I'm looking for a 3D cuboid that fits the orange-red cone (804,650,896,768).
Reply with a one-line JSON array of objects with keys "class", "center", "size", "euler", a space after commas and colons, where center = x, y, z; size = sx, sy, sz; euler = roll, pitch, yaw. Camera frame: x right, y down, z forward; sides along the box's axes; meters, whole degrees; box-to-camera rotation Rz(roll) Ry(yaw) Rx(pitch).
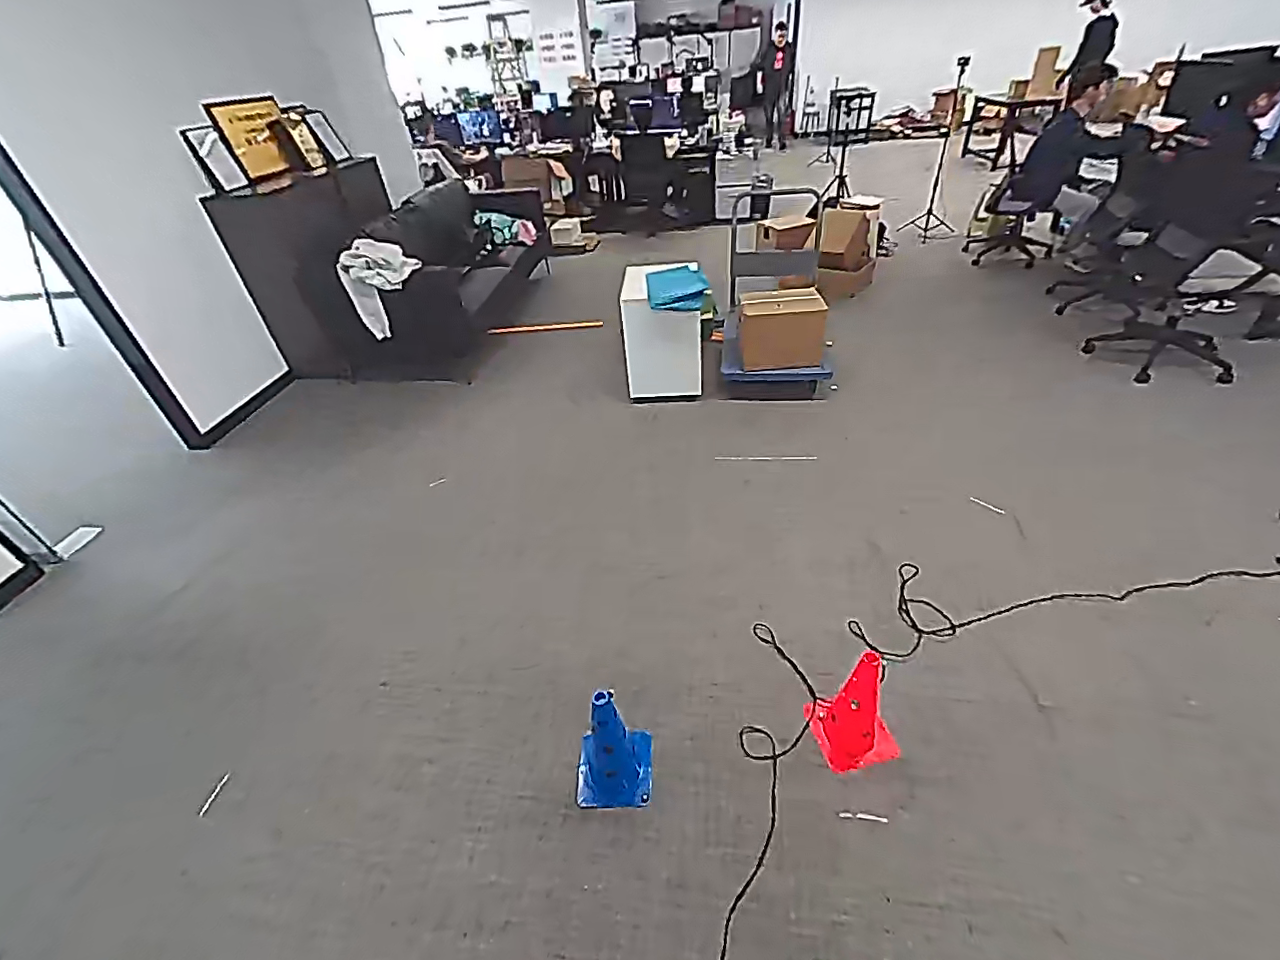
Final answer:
[{"class": "orange-red cone", "center": [0.569, 0.559, 1.406], "size": [0.198, 0.360, 0.199], "euler": [-11, 40, -5]}]
